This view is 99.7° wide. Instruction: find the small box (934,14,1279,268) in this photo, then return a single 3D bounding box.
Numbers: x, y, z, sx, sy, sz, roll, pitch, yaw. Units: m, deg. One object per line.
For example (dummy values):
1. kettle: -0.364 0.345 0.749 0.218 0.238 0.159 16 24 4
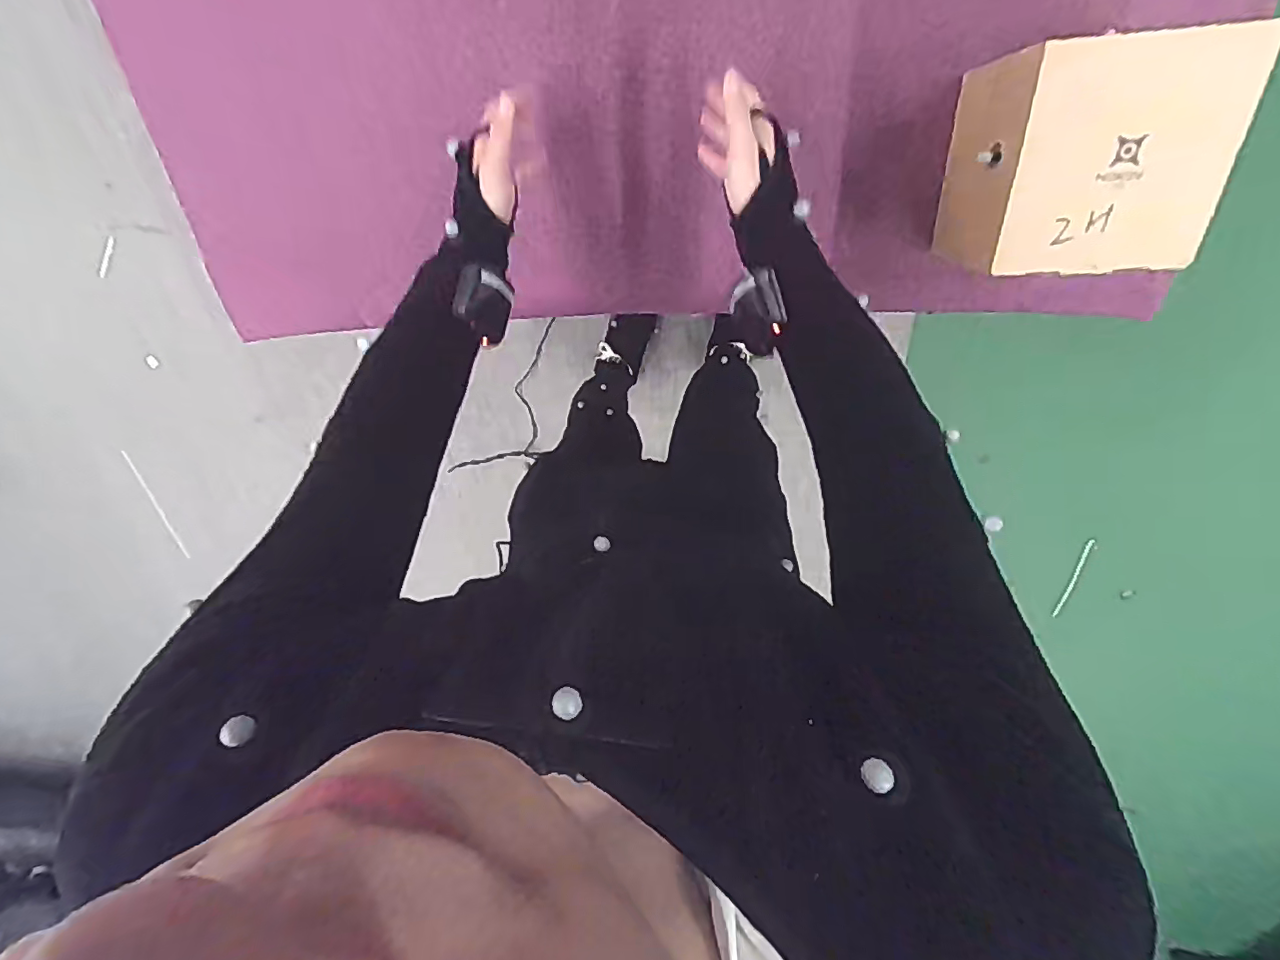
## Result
1. small box: 0.407 -0.309 0.518 0.168 0.176 0.179 1 120 8
